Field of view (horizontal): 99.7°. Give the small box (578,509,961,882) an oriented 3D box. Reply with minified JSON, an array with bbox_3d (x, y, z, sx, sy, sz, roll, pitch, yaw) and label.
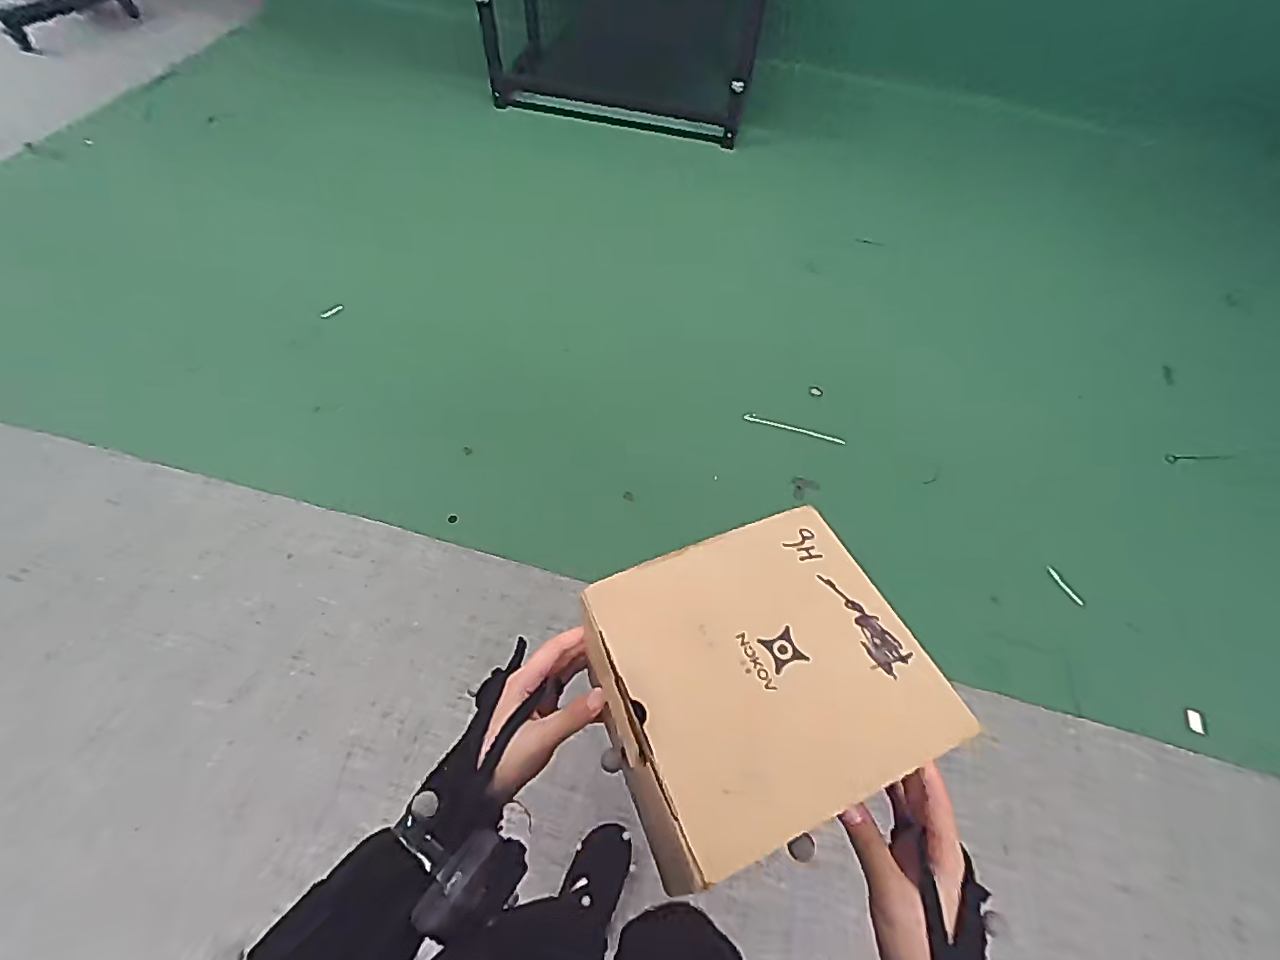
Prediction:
[{"bbox_3d":[0.068,0.154,0.383,0.179,0.176,0.168,-18,54,-16],"label":"small box"}]
